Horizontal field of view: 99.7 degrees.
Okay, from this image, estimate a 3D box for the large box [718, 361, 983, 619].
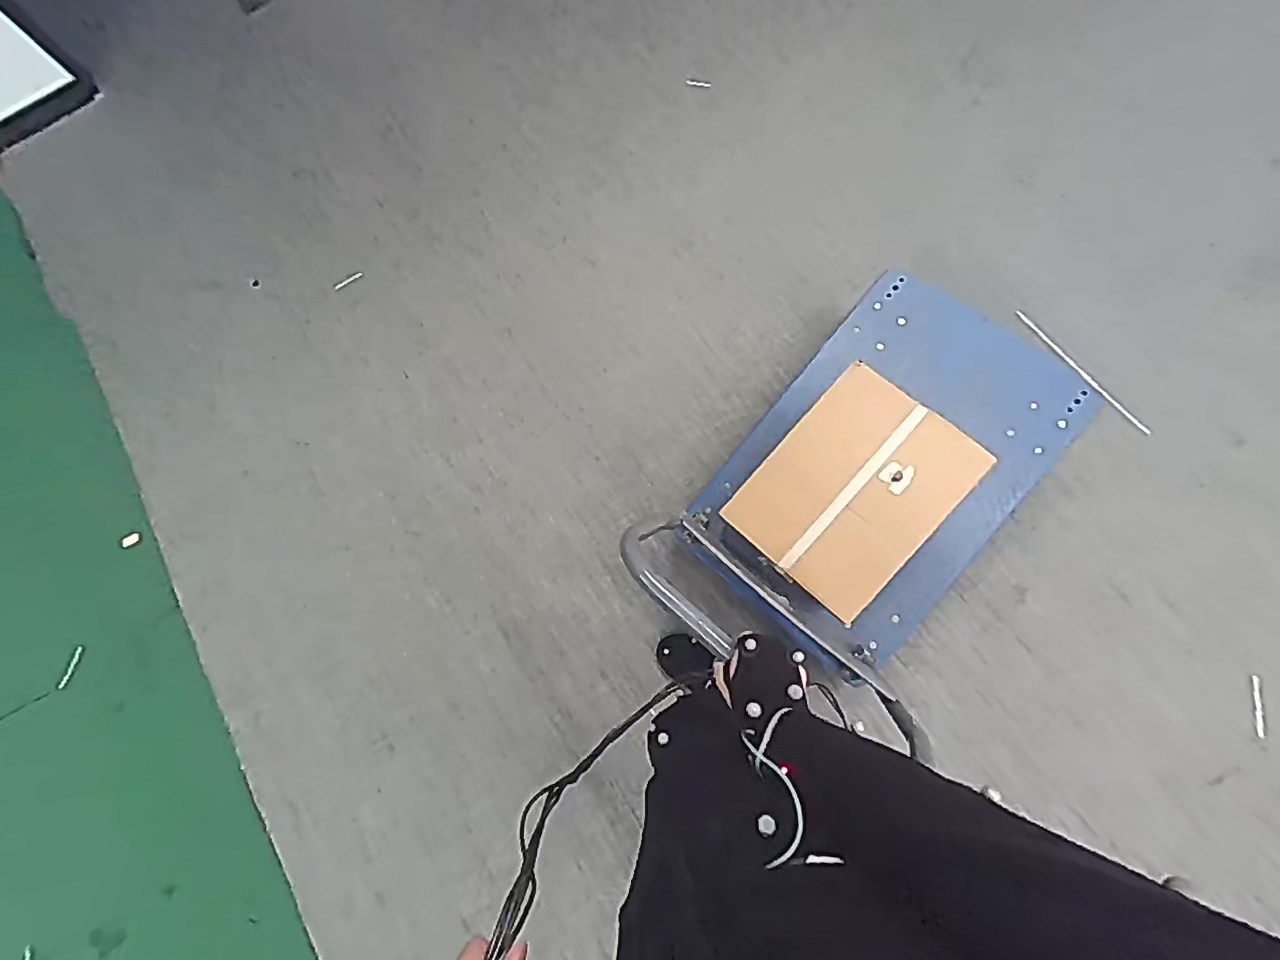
[{"bbox_3d":[0.416,0.036,1.163,0.320,0.320,0.408,42,91,13],"label":"large box"}]
